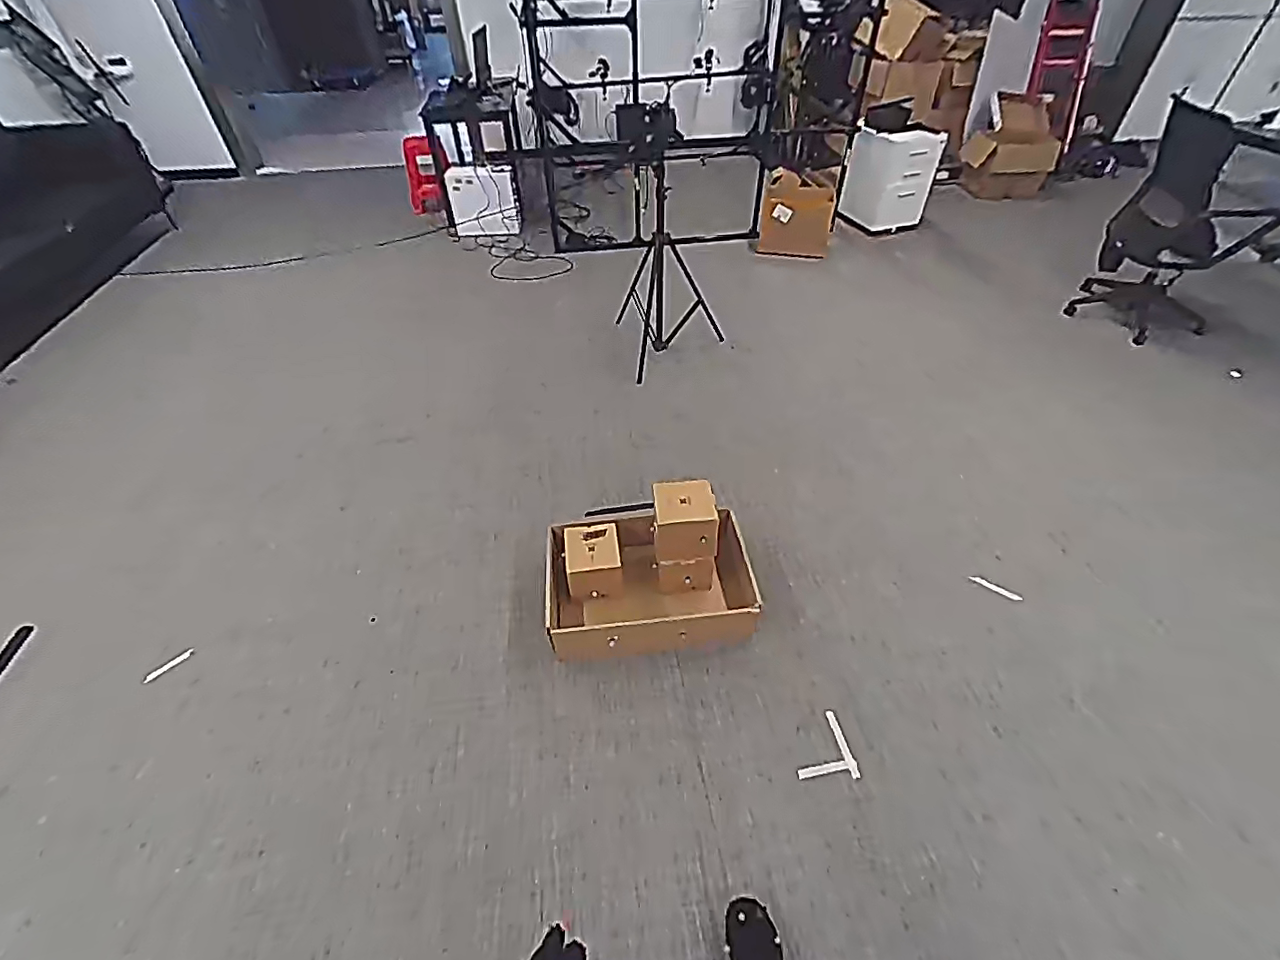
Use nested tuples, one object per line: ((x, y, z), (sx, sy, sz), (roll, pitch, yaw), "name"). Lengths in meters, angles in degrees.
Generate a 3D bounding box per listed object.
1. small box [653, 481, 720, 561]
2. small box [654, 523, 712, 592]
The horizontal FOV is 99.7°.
((0.135, 0.125, 1.621), (0.179, 0.176, 0.168), (-6, 43, -1), "small box")
((0.139, 0.245, 1.734), (0.168, 0.176, 0.179), (-7, 46, -1), "small box")
